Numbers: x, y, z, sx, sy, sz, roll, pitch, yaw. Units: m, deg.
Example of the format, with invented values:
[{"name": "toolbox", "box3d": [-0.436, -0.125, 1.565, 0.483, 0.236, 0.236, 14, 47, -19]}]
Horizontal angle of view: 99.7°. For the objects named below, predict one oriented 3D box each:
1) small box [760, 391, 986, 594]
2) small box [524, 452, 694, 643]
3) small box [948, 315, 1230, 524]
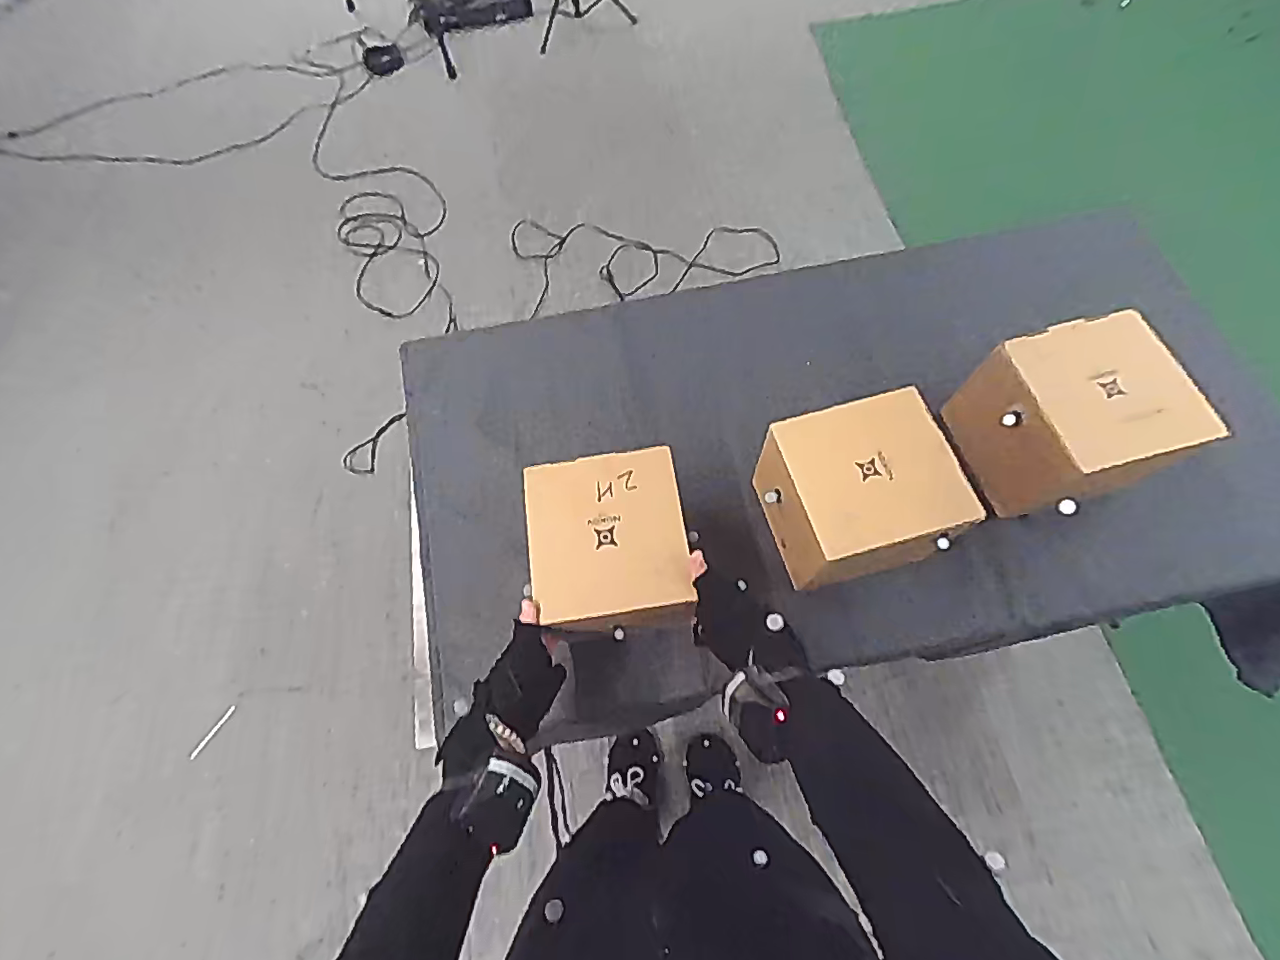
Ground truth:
[{"name": "small box", "box3d": [0.252, 0.025, 0.644, 0.179, 0.176, 0.168, -15, 67, -3]}, {"name": "small box", "box3d": [-0.031, 0.089, 0.633, 0.168, 0.176, 0.179, -8, 67, 0]}, {"name": "small box", "box3d": [0.519, -0.066, 0.662, 0.168, 0.176, 0.179, -14, 68, -1]}]
